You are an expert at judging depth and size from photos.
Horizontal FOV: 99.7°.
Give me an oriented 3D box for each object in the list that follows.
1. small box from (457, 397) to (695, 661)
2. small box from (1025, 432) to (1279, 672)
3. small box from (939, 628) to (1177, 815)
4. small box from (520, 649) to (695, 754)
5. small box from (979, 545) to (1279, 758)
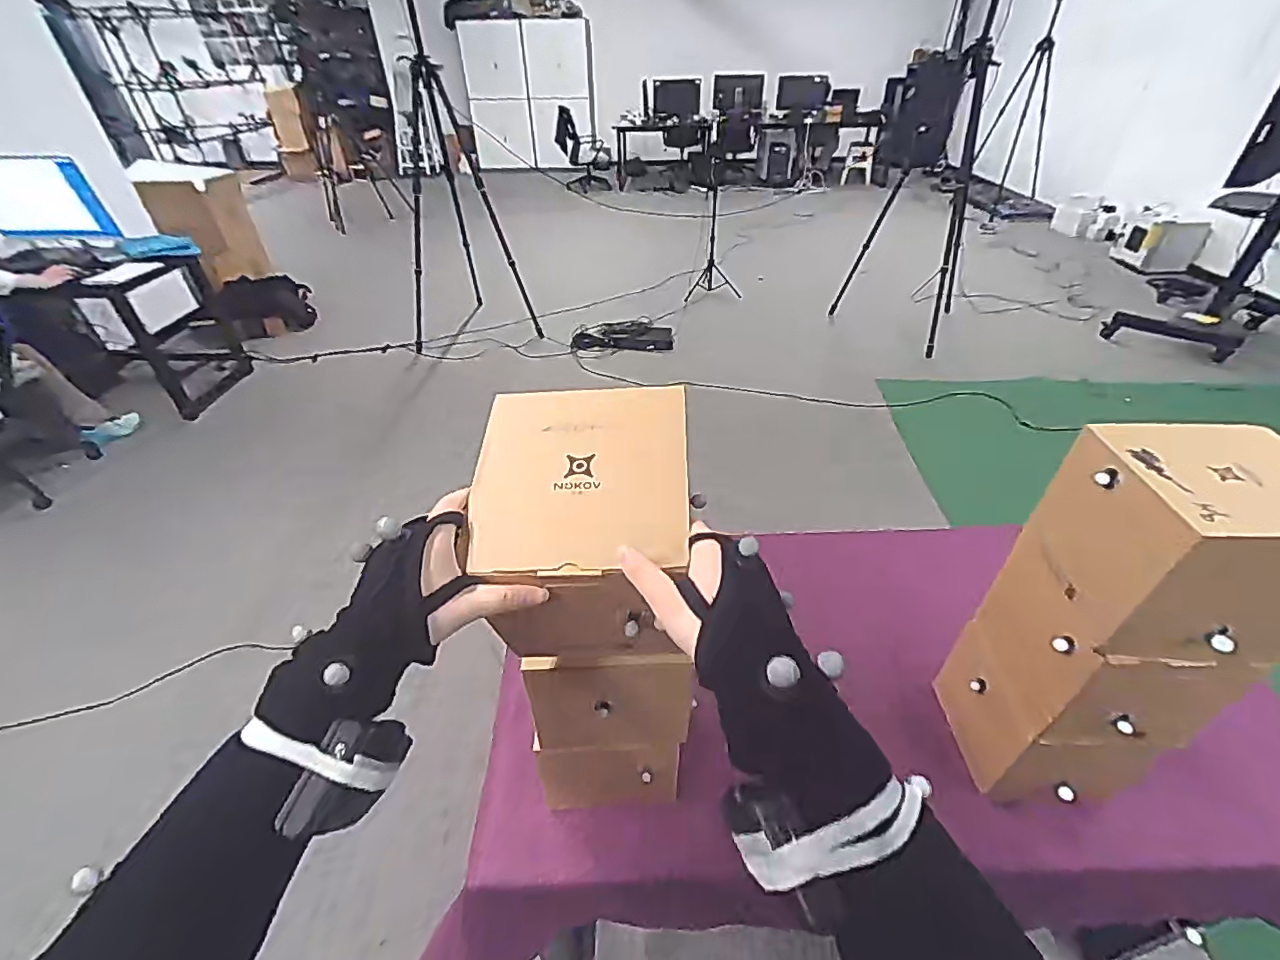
[{"bbox_3d":[-0.036,0.049,0.477,0.168,0.176,0.179,-1,52,5],"label":"small box"},{"bbox_3d":[0.538,0.071,0.535,0.179,0.176,0.168,3,38,3],"label":"small box"},{"bbox_3d":[0.542,0.327,0.739,0.168,0.176,0.179,0,39,3],"label":"small box"},{"bbox_3d":[-0.034,0.205,0.643,0.179,0.176,0.168,-2,38,-1],"label":"small box"},{"bbox_3d":[0.542,0.199,0.639,0.168,0.176,0.179,1,39,2],"label":"small box"}]
